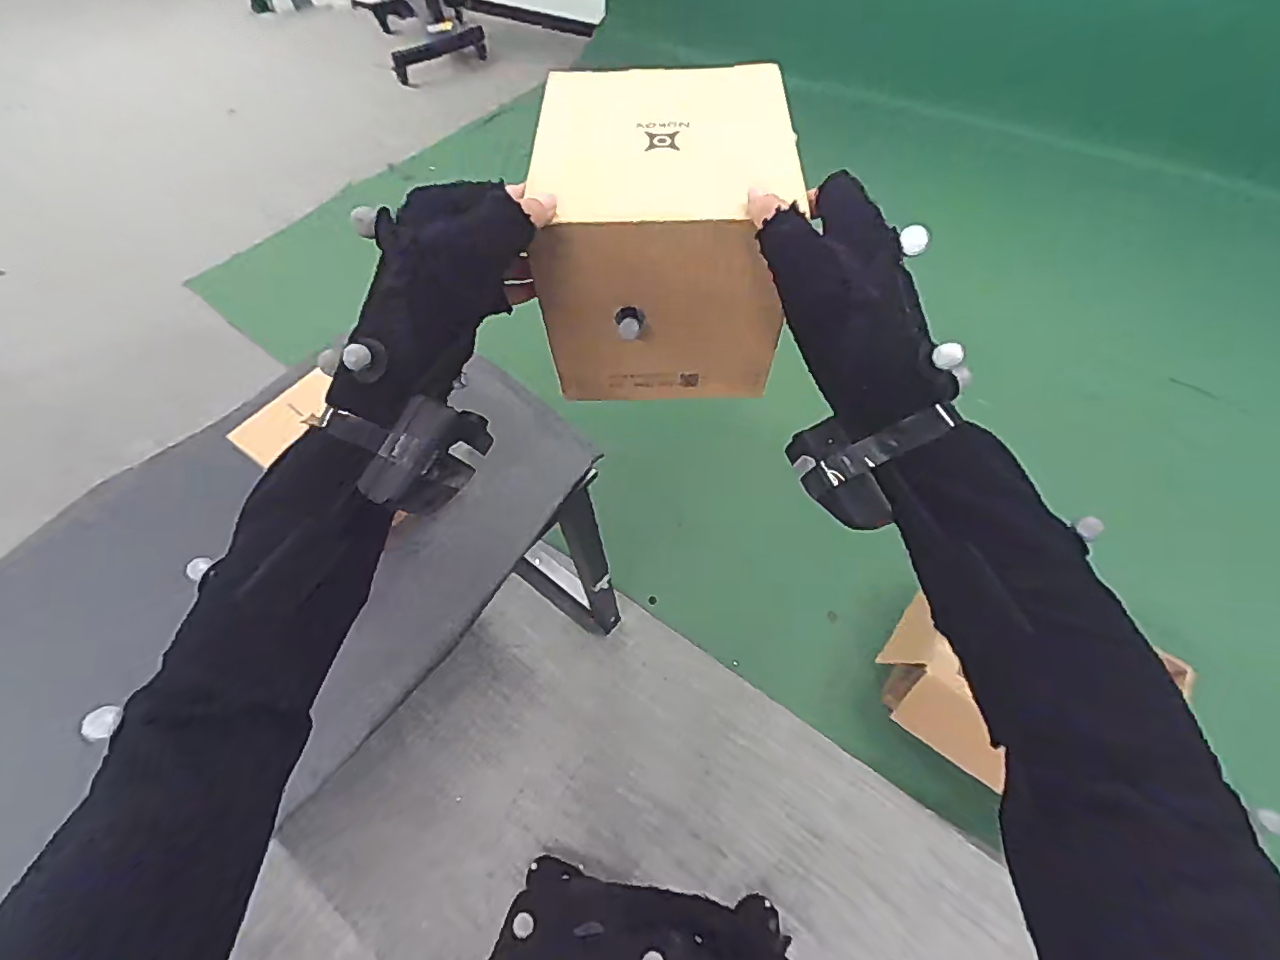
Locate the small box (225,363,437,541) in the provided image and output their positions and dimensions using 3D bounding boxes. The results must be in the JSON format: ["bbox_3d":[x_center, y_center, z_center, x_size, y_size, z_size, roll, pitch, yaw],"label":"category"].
[{"bbox_3d":[-0.435,-0.033,0.793,0.179,0.176,0.168,29,63,21],"label":"small box"}]

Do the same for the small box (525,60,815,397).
[{"bbox_3d":[0.022,-0.177,0.409,0.168,0.176,0.179,0,60,2],"label":"small box"}]
